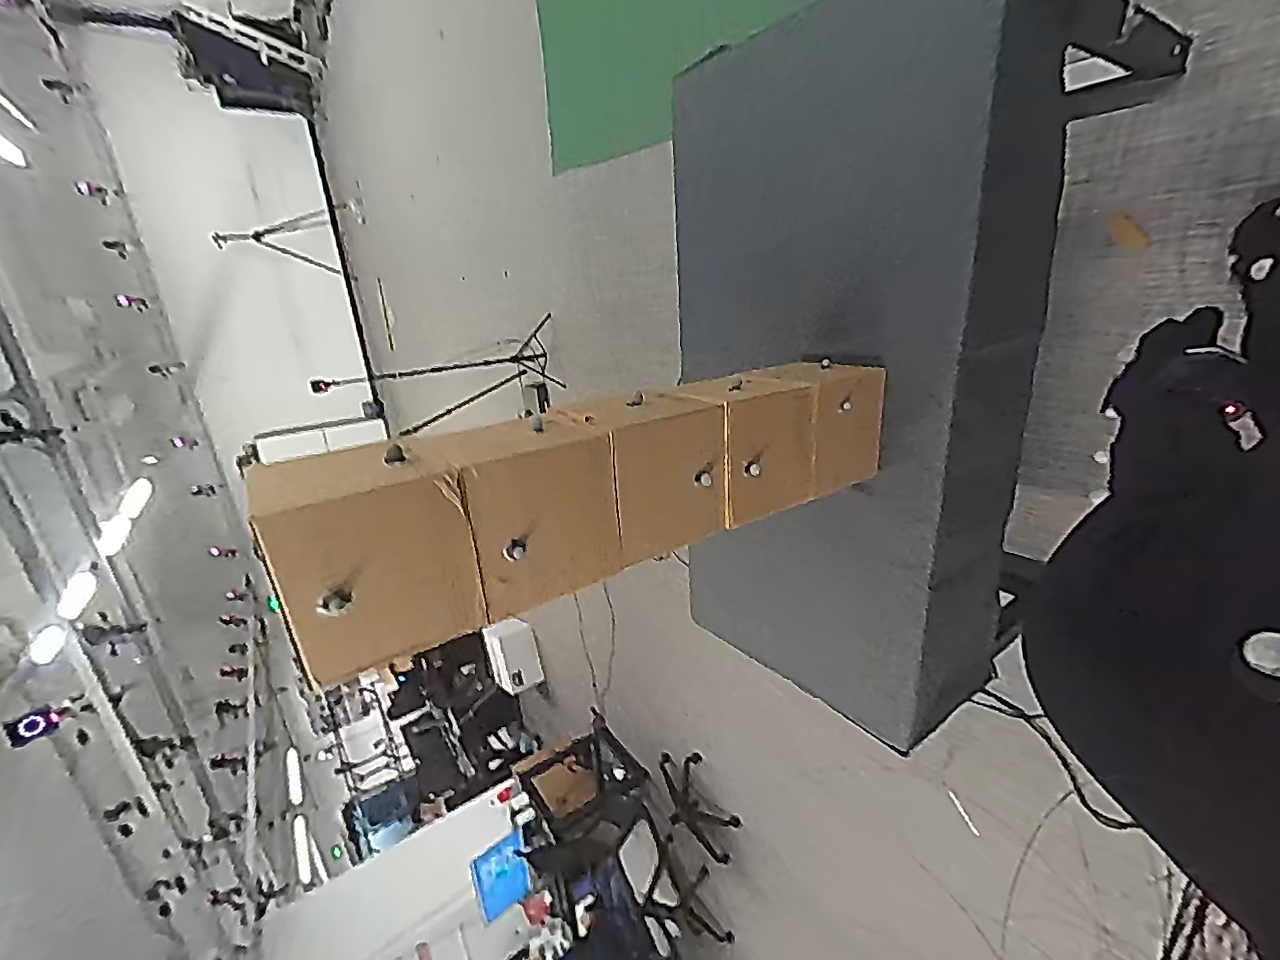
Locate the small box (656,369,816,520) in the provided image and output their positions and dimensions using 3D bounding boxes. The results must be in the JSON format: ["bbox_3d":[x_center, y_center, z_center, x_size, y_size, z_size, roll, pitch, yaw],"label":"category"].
[{"bbox_3d":[0.142,-0.064,0.798,0.168,0.176,0.179,21,122,53],"label":"small box"}]

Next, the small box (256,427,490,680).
[{"bbox_3d":[-0.266,0.059,0.552,0.168,0.176,0.179,24,125,50],"label":"small box"}]

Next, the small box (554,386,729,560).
[{"bbox_3d":[0.005,-0.024,0.719,0.168,0.176,0.179,24,124,52],"label":"small box"}]

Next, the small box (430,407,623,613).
[{"bbox_3d":[-0.132,0.021,0.639,0.168,0.176,0.179,22,122,52],"label":"small box"}]
